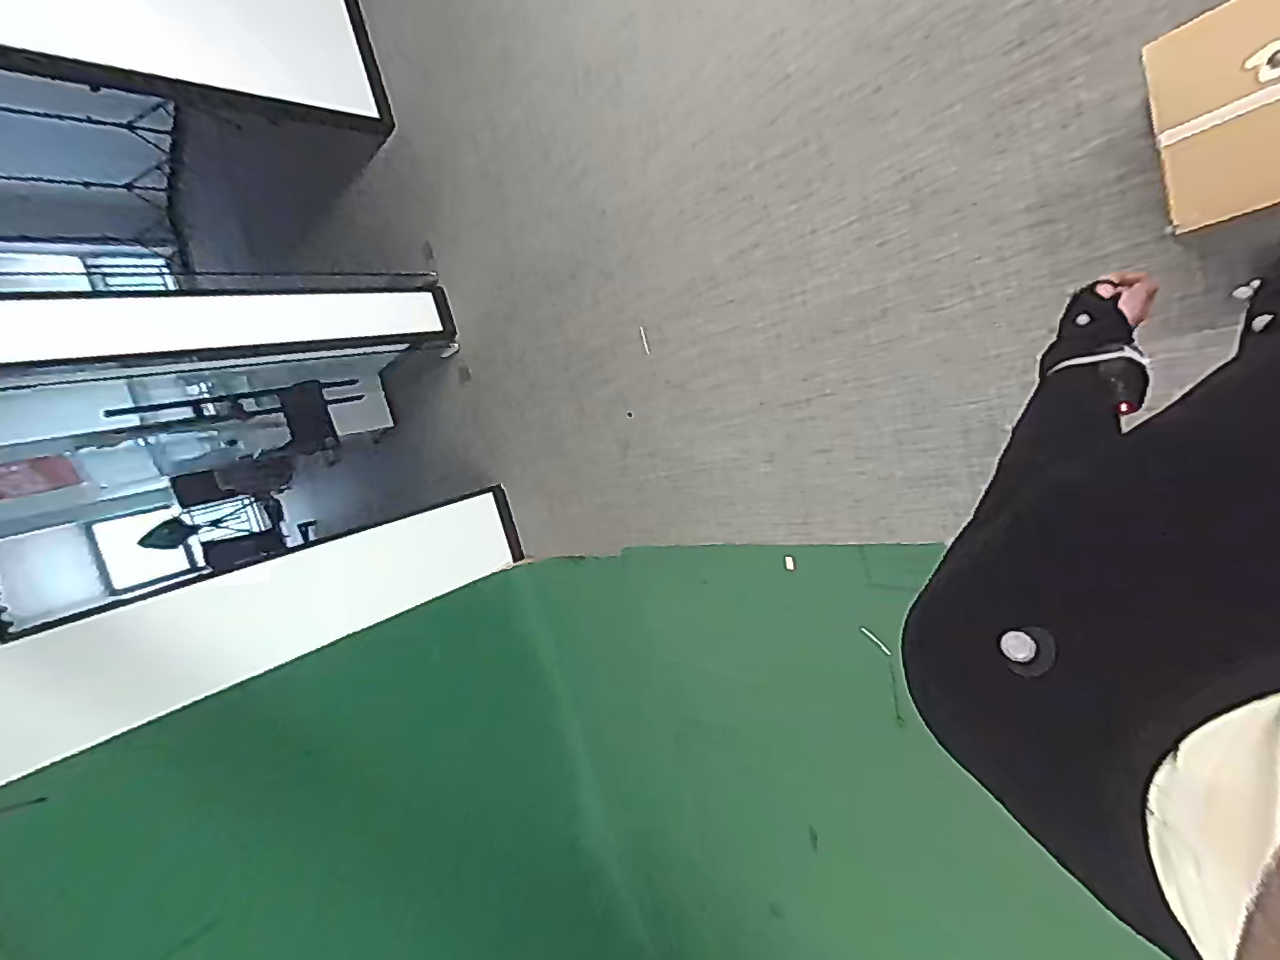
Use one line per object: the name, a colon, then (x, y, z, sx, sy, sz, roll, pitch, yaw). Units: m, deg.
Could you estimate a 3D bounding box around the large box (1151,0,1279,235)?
large box: (1.120, -0.633, 0.854, 0.408, 0.320, 0.320, -12, 95, 48)
